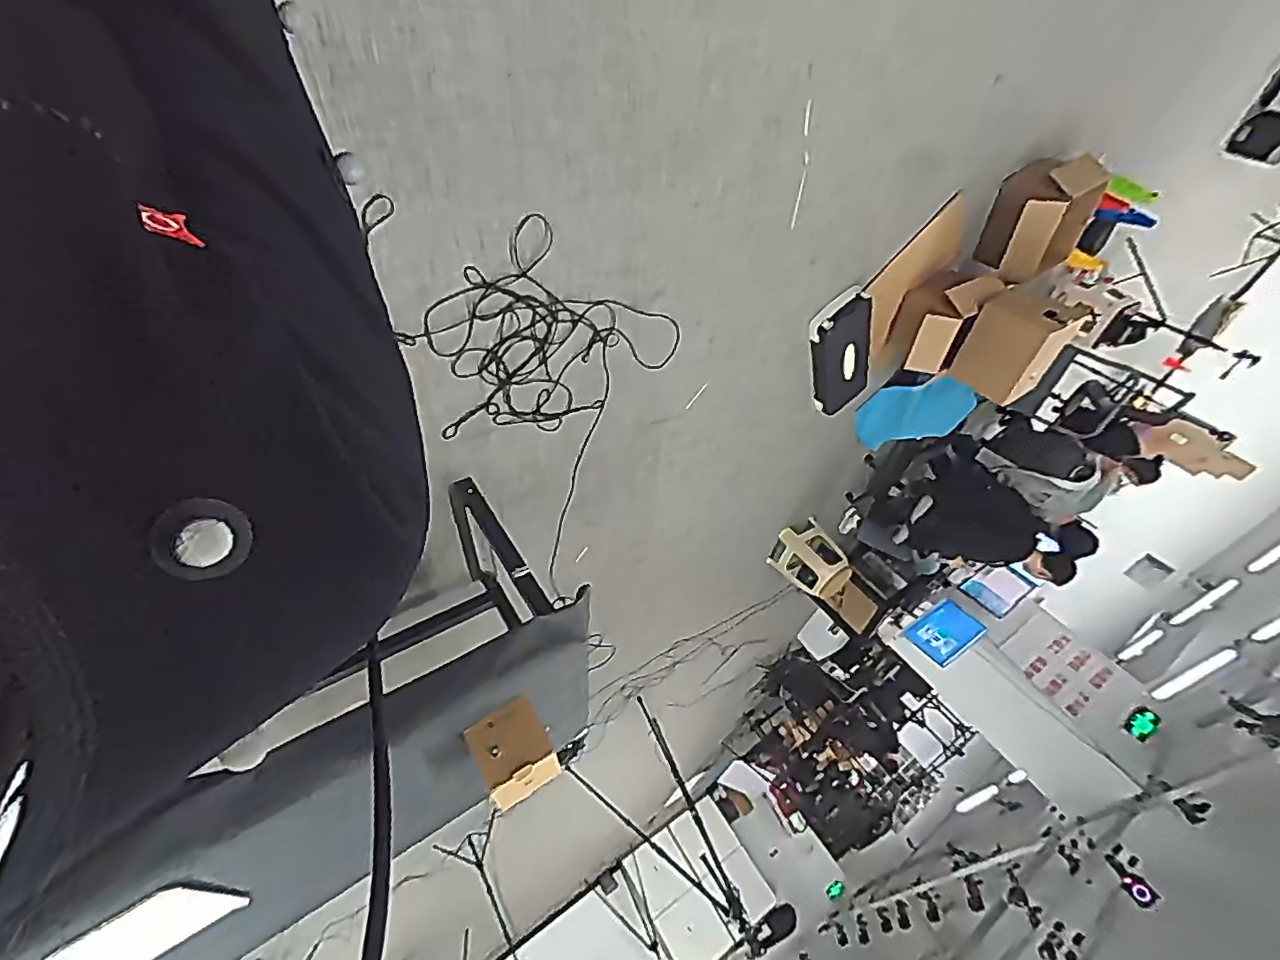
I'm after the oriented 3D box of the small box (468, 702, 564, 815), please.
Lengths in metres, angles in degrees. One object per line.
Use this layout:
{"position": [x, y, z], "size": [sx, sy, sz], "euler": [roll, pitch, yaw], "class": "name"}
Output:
{"position": [-0.307, 0.683, 1.340], "size": [0.168, 0.176, 0.179], "euler": [-25, 144, -21], "class": "small box"}
